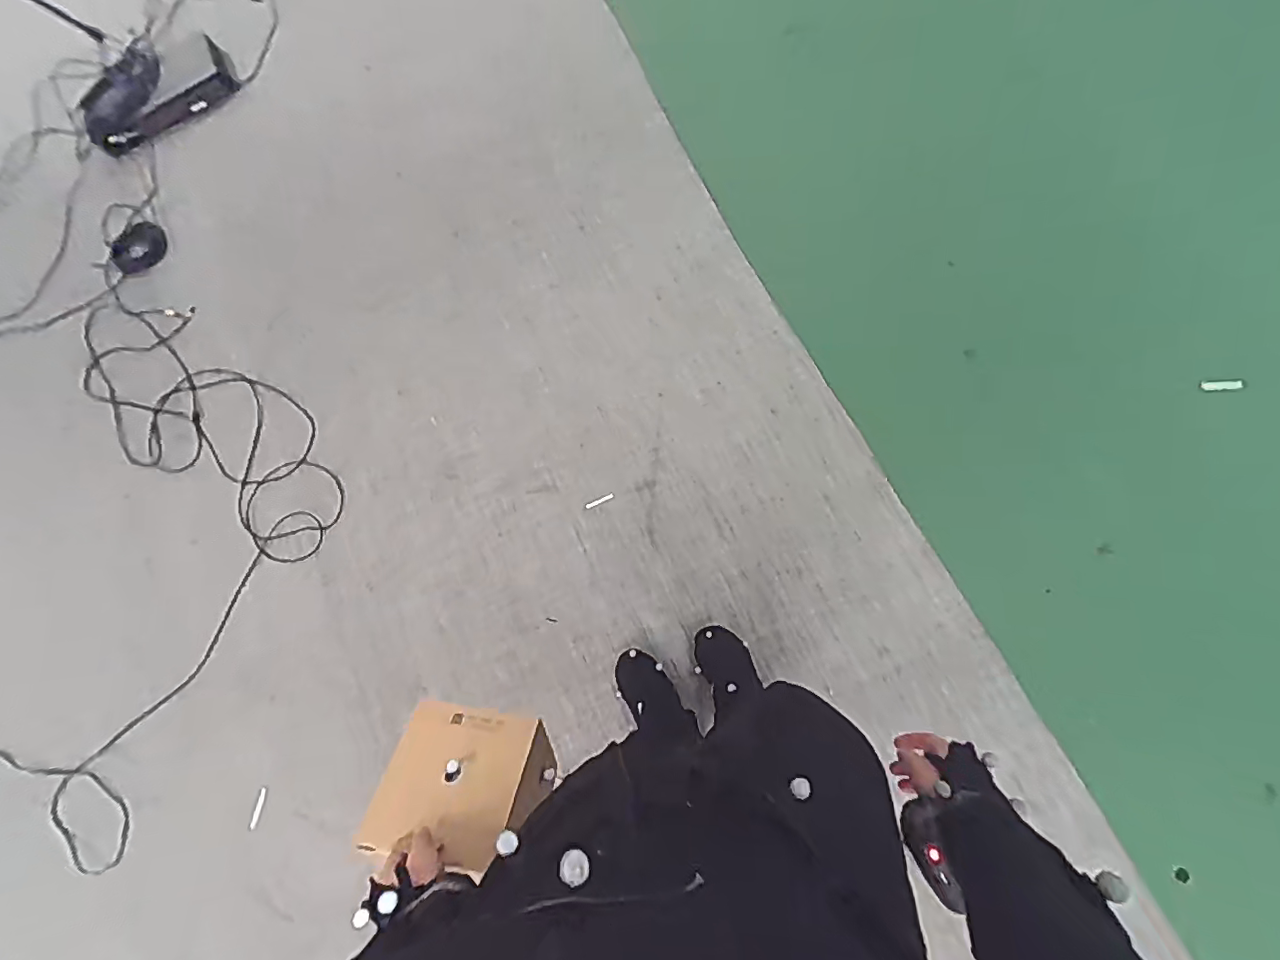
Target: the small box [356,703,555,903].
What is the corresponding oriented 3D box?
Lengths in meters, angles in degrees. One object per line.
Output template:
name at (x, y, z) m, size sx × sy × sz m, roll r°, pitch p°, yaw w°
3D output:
small box at (-0.217, 0.408, 0.693) m, size 0.168 × 0.179 × 0.176 m, roll 6°, pitch 44°, yaw 8°
